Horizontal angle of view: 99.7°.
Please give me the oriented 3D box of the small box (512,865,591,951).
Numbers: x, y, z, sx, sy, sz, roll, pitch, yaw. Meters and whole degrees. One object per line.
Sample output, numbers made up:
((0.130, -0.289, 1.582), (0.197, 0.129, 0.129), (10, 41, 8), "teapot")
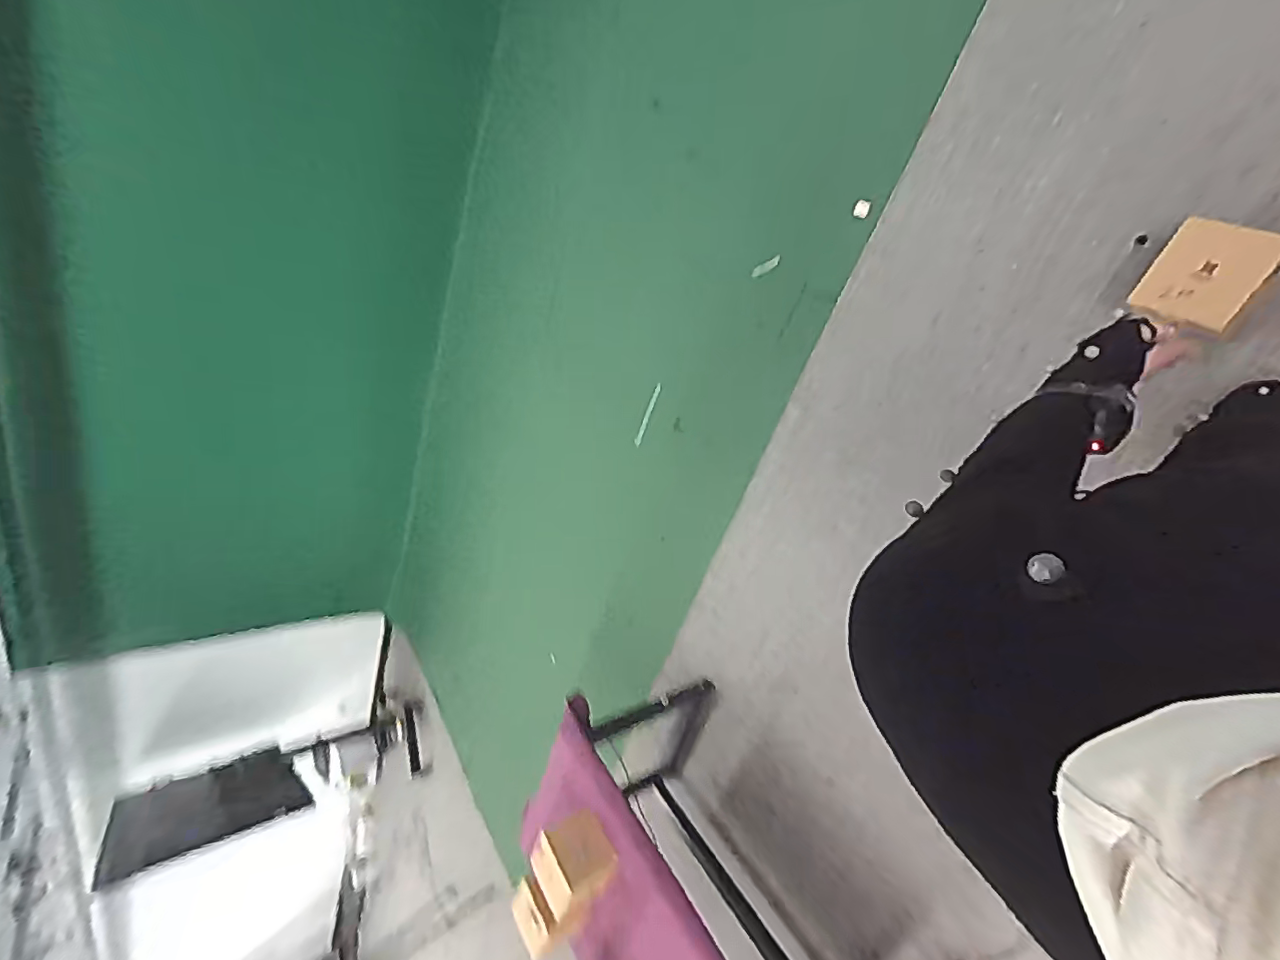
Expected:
((-0.276, 1.312, 1.707), (0.168, 0.176, 0.179), (43, 123, 39), "small box")

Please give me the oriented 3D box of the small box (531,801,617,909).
((-0.194, 1.100, 1.601), (0.179, 0.176, 0.168), (44, 124, 38), "small box")

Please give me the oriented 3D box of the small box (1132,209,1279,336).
((1.147, -0.409, 1.082), (0.168, 0.176, 0.179), (45, 124, 38), "small box")
